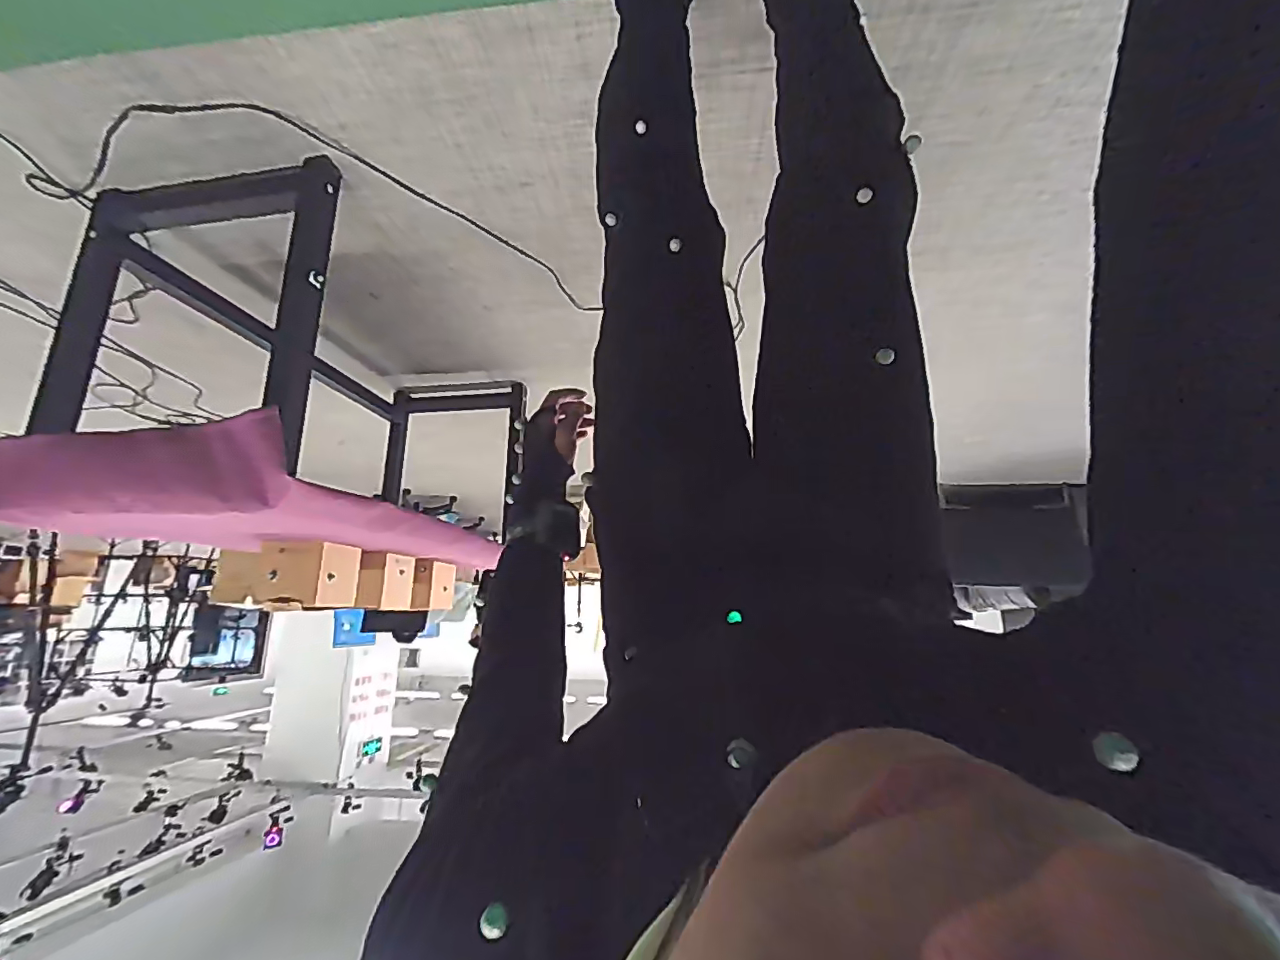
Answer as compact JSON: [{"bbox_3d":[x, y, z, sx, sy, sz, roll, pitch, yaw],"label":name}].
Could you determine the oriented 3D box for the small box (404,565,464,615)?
[{"bbox_3d":[-0.744,0.392,1.927,0.168,0.176,0.179,-1,166,8],"label":"small box"}]

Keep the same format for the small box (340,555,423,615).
[{"bbox_3d":[-0.802,0.329,1.685,0.179,0.176,0.168,-2,166,7],"label":"small box"}]

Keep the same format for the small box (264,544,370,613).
[{"bbox_3d":[-0.843,0.262,1.427,0.168,0.176,0.179,0,166,4],"label":"small box"}]
